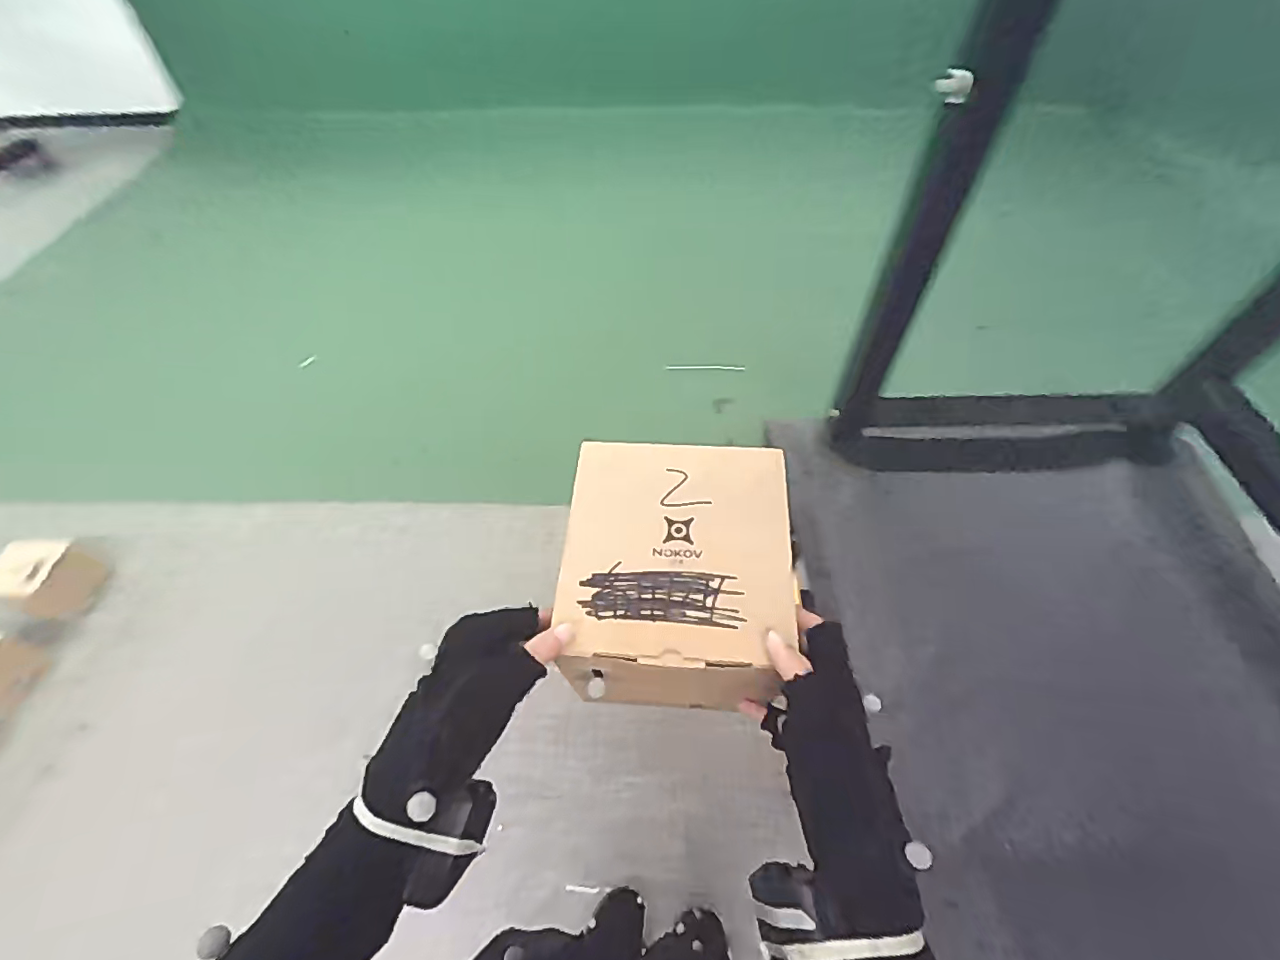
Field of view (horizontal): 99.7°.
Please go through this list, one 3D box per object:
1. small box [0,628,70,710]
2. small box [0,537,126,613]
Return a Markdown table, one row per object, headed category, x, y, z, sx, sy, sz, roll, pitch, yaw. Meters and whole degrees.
| category | x | y | z | sx | sy | sz | roll | pitch | yaw |
| --- | --- | --- | --- | --- | --- | --- | --- | --- | --- |
| small box | -1.691 | 0.495 | 1.416 | 0.179 | 0.176 | 0.168 | 2 | 53 | 3 |
| small box | -1.680 | 0.279 | 1.576 | 0.179 | 0.176 | 0.168 | -1 | 53 | 2 |
